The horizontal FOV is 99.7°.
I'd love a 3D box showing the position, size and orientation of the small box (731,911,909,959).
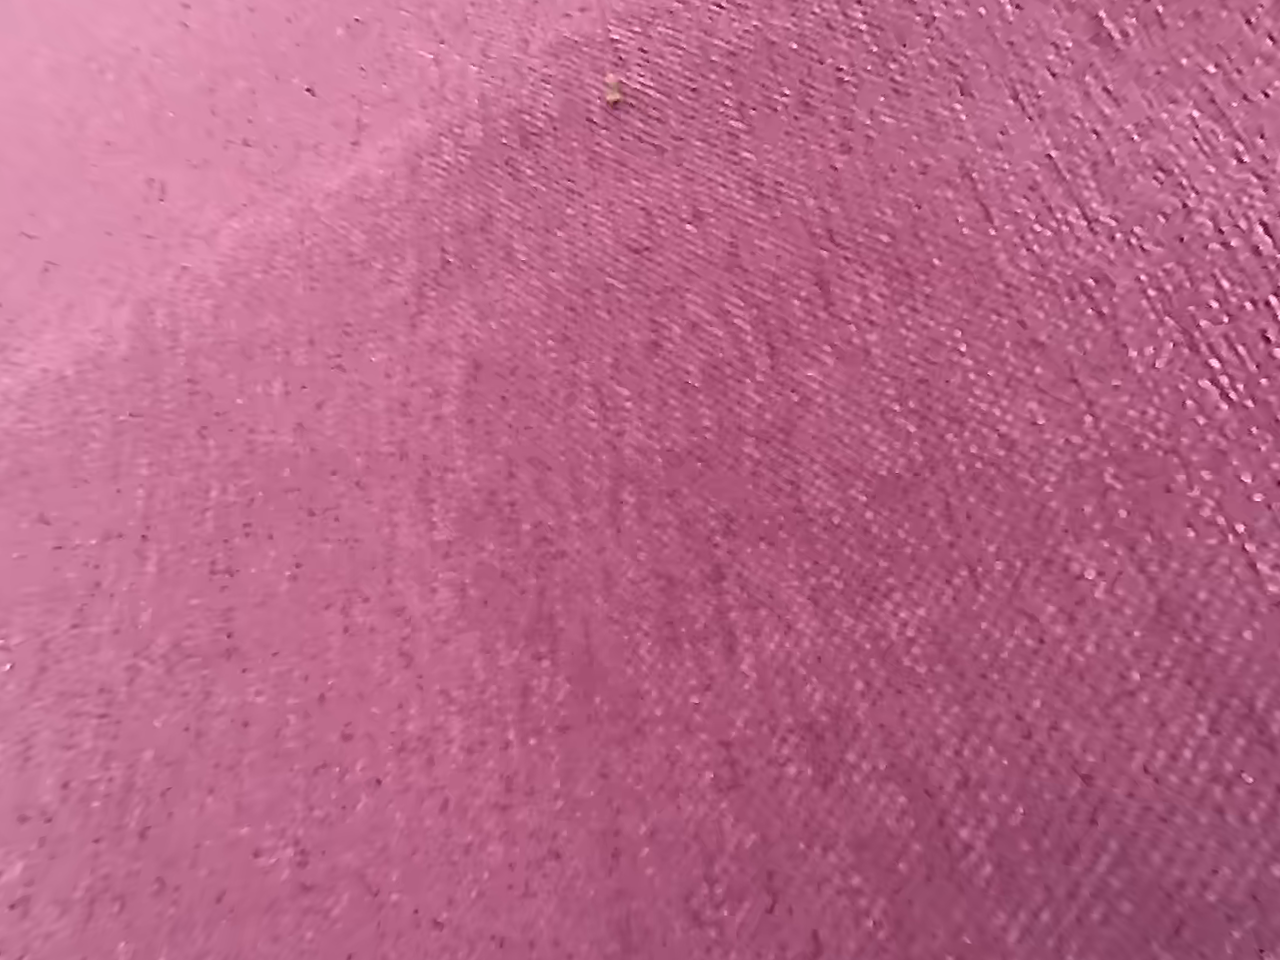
[{"bbox_3d":[0.166,0.542,0.500,0.179,0.168,0.176,2,76,16],"label":"small box"}]
